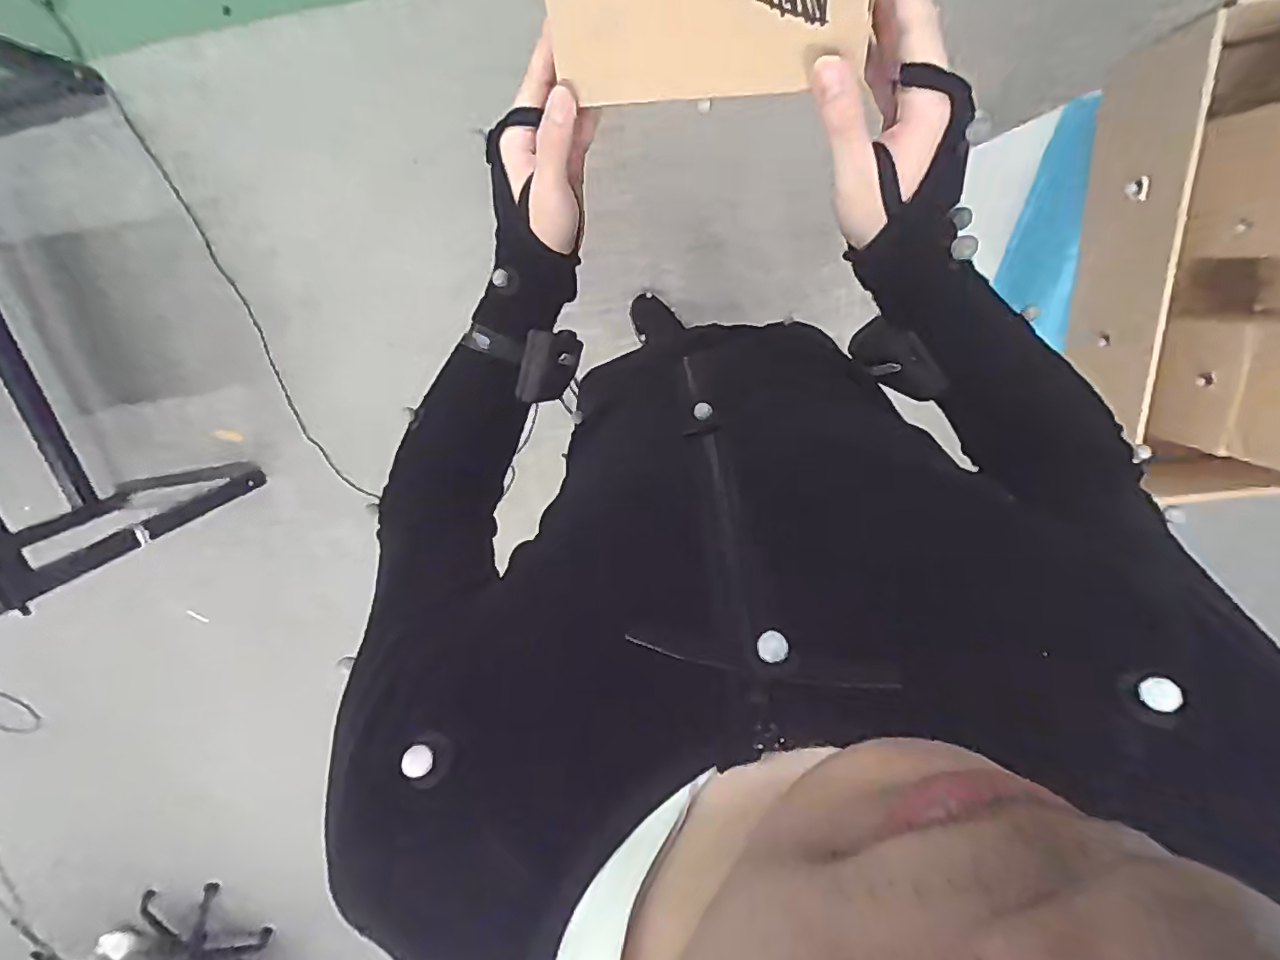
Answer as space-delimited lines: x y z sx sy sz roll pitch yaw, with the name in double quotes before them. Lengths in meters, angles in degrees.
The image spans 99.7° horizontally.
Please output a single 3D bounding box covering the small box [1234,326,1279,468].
"small box" 0.861 -0.093 0.621 0.168 0.176 0.179 -4 109 5
